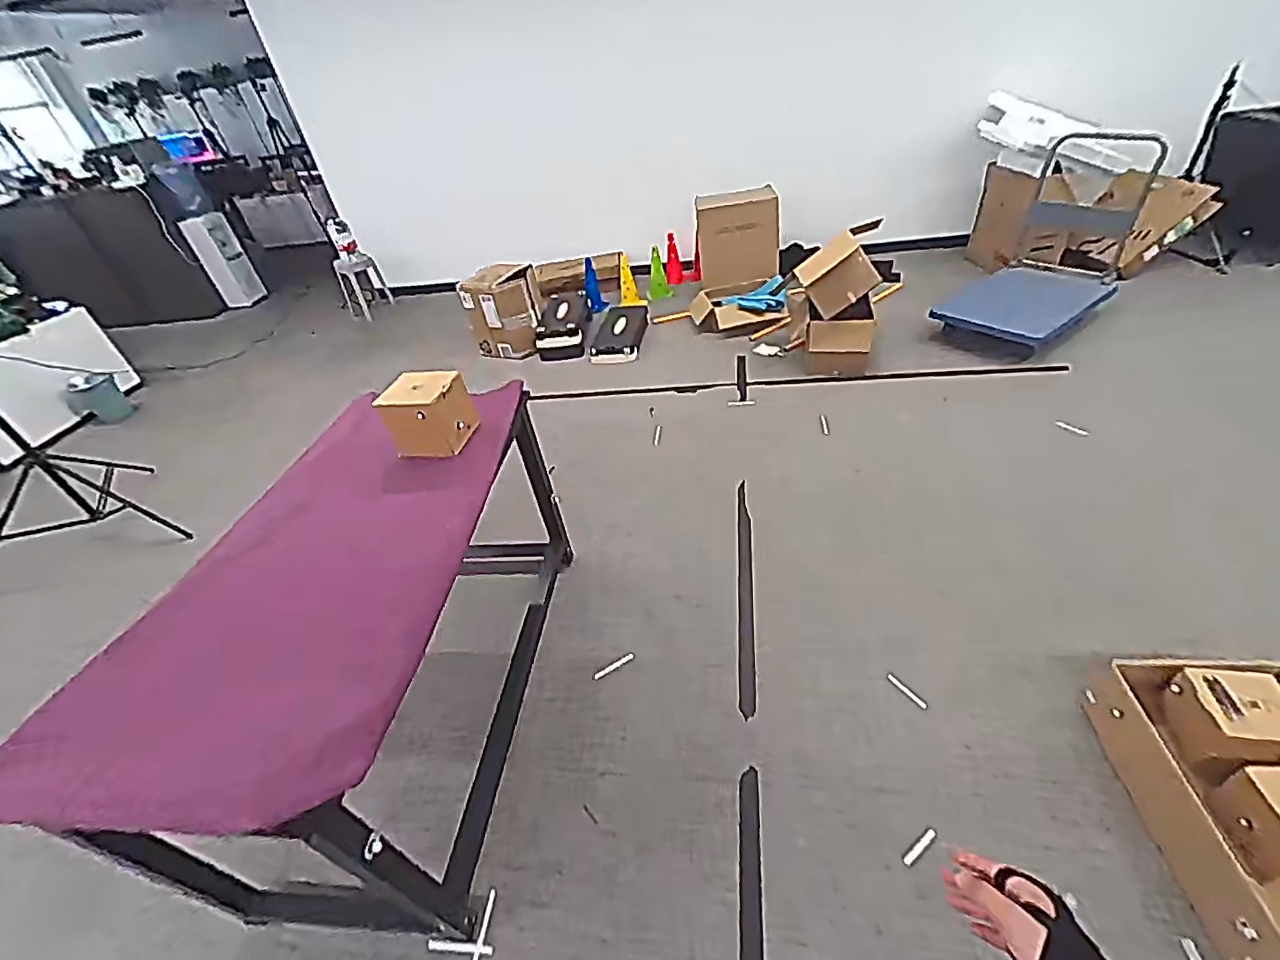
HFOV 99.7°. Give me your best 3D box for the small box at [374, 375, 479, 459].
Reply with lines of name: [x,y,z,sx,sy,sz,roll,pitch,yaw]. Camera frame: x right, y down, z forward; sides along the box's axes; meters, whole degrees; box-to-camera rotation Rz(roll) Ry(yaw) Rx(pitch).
small box: [-0.567,-0.168,1.458,0.179,0.176,0.168,0,40,14]

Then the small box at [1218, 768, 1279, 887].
small box: [1.338,0.704,1.088,0.179,0.176,0.168,-3,39,9]
